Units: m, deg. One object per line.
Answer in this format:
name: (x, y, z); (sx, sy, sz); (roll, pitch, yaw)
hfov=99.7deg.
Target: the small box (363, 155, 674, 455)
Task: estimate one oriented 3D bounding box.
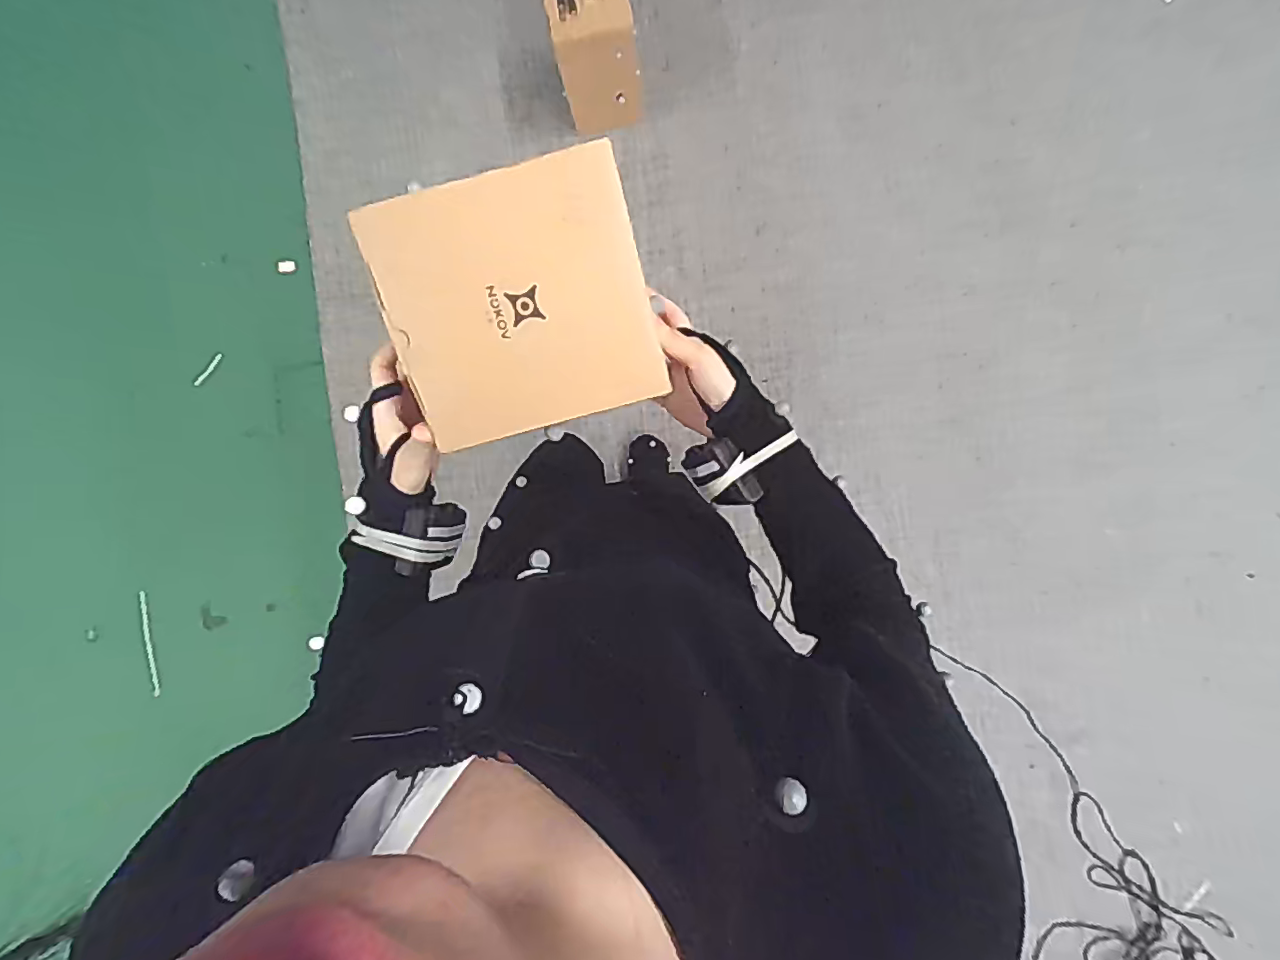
small box: (-0.081, -0.137, 0.446); (0.179, 0.176, 0.168); (-15, 107, 3)
